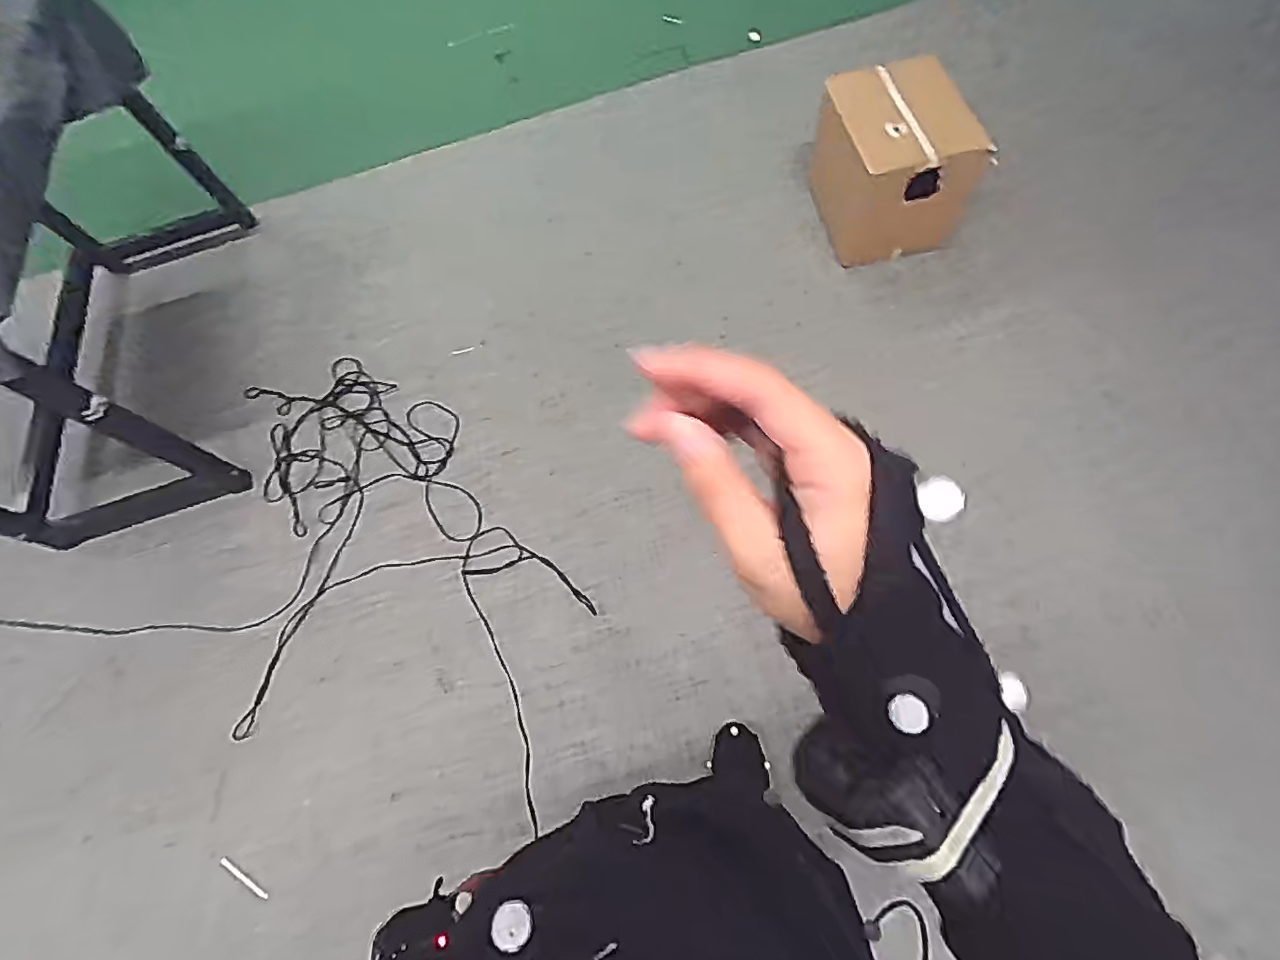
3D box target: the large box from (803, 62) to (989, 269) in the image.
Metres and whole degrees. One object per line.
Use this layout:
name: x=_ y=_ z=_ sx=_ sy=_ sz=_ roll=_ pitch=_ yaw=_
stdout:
large box: x=0.700 y=-0.895 z=1.561 sx=0.320 sy=0.320 sz=0.408 roll=-12 pitch=66 yaw=3
